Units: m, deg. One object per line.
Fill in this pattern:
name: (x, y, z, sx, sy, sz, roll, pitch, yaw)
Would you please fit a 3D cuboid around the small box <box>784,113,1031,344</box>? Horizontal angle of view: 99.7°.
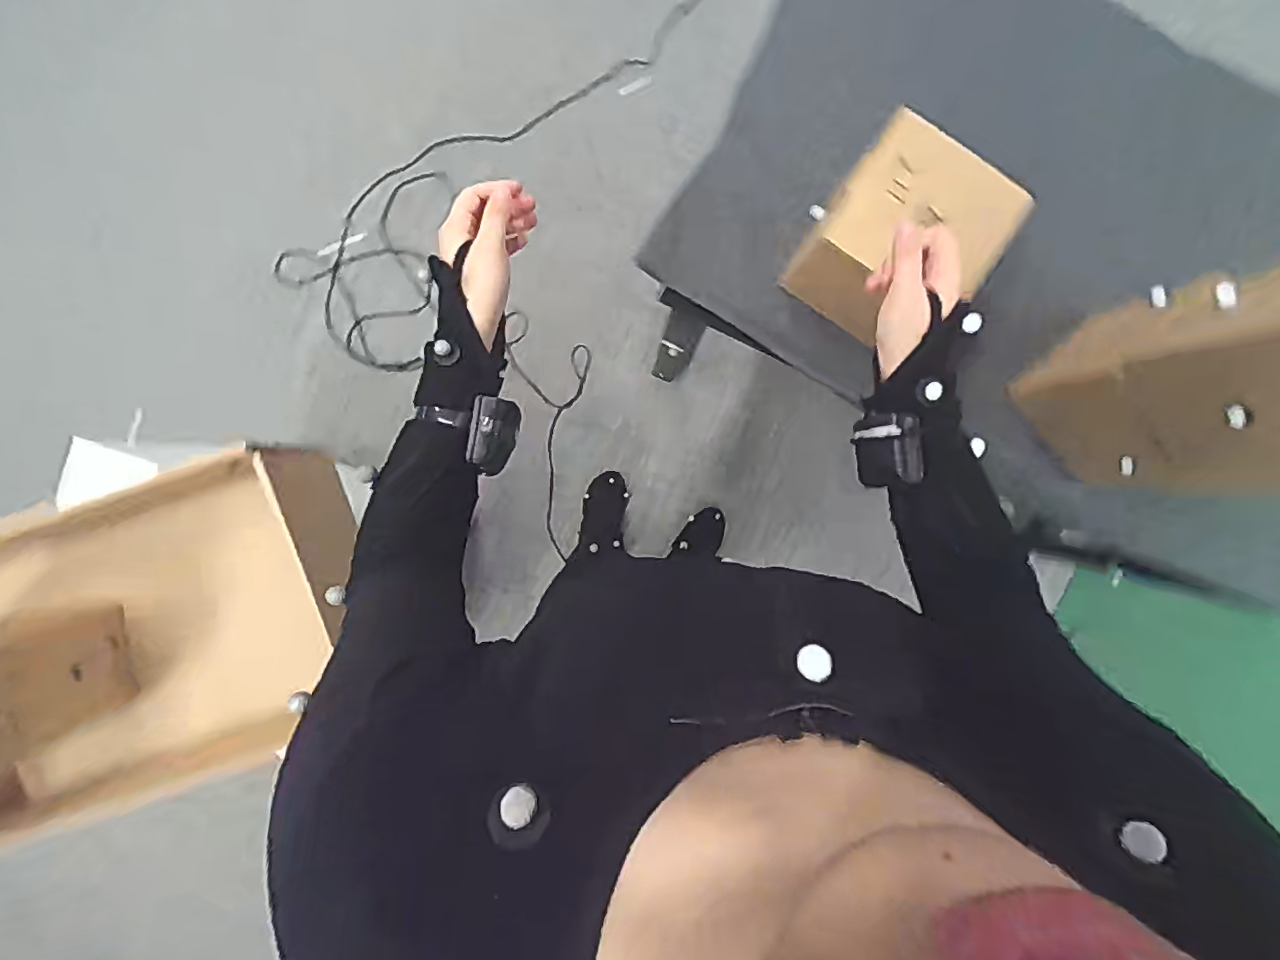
small box: (0.309, -0.286, 0.666, 0.179, 0.176, 0.168, 33, 92, -2)
